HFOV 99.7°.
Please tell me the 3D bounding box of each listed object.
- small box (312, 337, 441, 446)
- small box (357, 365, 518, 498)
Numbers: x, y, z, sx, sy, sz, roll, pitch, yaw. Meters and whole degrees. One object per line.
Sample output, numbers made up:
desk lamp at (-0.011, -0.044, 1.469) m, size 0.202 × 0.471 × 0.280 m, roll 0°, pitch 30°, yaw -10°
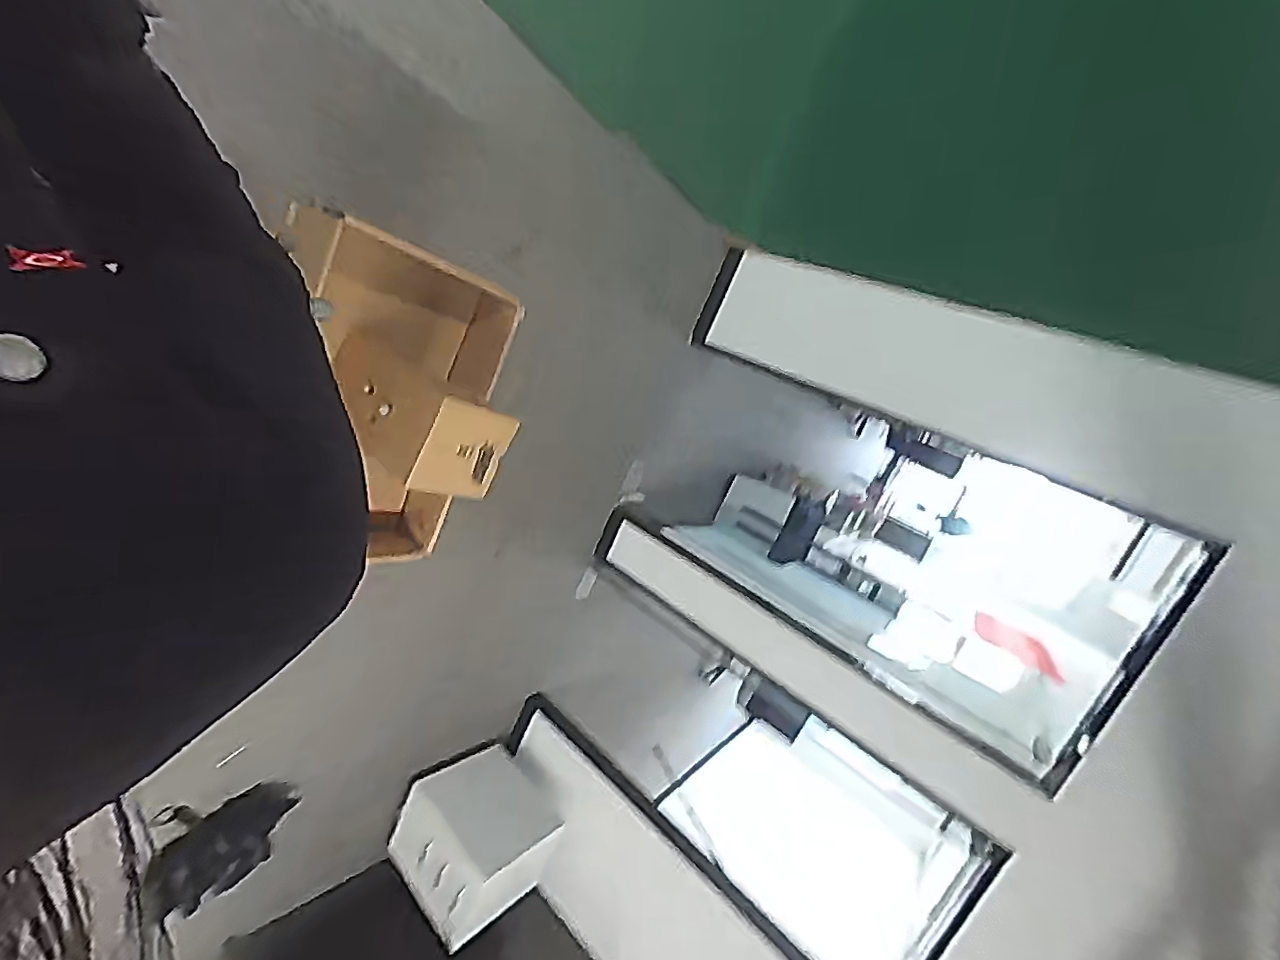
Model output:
small box at (-0.486, -0.155, 1.048) m, size 0.168 × 0.176 × 0.179 m, roll -62°, pitch 151°, yaw 4°
small box at (-0.361, -0.086, 0.967) m, size 0.179 × 0.176 × 0.168 m, roll 17°, pitch 102°, yaw -59°
